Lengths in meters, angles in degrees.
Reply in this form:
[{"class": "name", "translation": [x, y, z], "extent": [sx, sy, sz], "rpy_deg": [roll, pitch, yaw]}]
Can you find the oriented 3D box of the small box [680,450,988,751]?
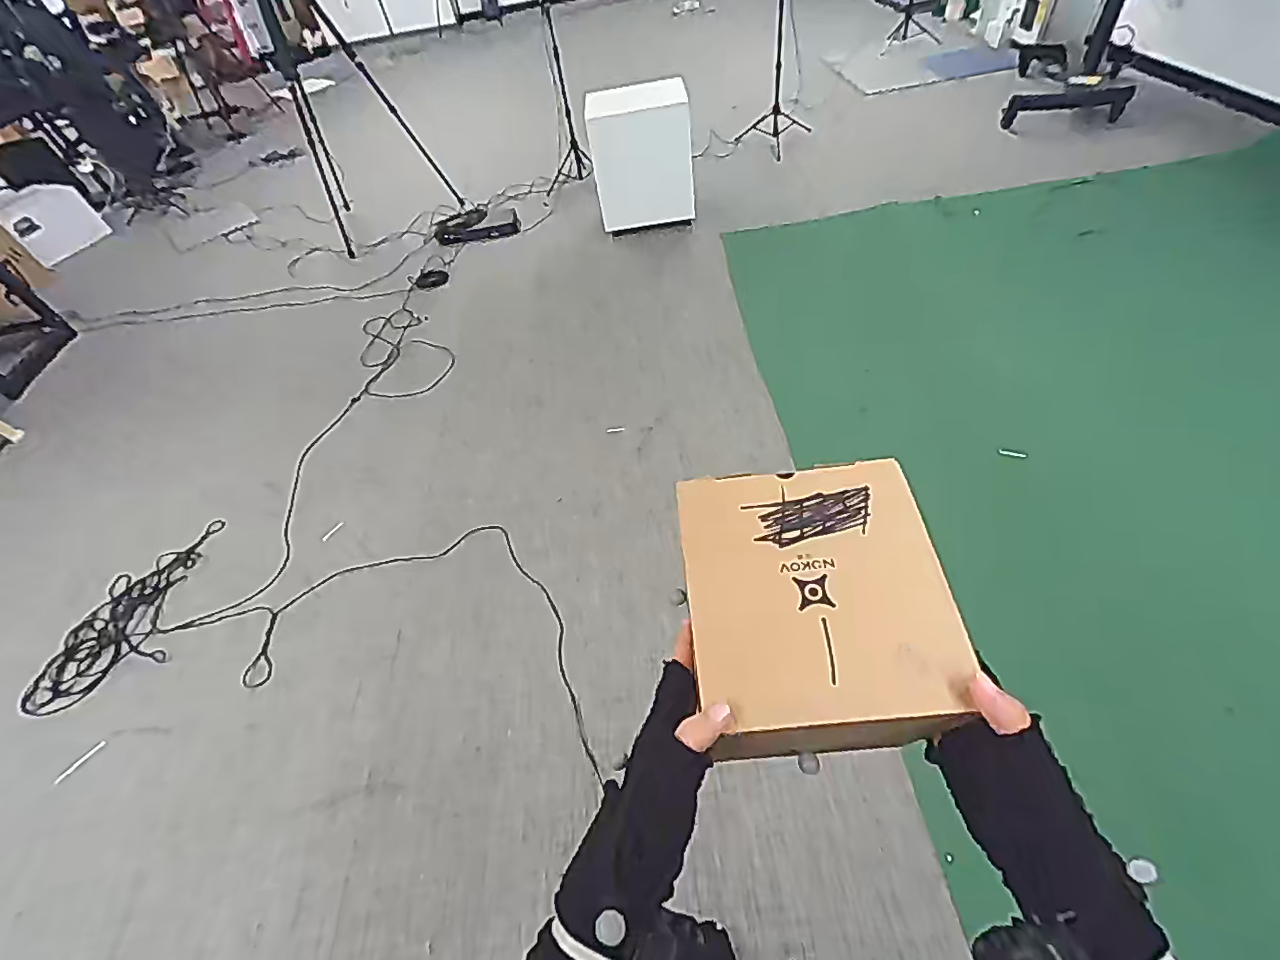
[{"class": "small box", "translation": [0.121, 0.100, 0.423], "extent": [0.168, 0.176, 0.179], "rpy_deg": [-7, 57, 3]}]
